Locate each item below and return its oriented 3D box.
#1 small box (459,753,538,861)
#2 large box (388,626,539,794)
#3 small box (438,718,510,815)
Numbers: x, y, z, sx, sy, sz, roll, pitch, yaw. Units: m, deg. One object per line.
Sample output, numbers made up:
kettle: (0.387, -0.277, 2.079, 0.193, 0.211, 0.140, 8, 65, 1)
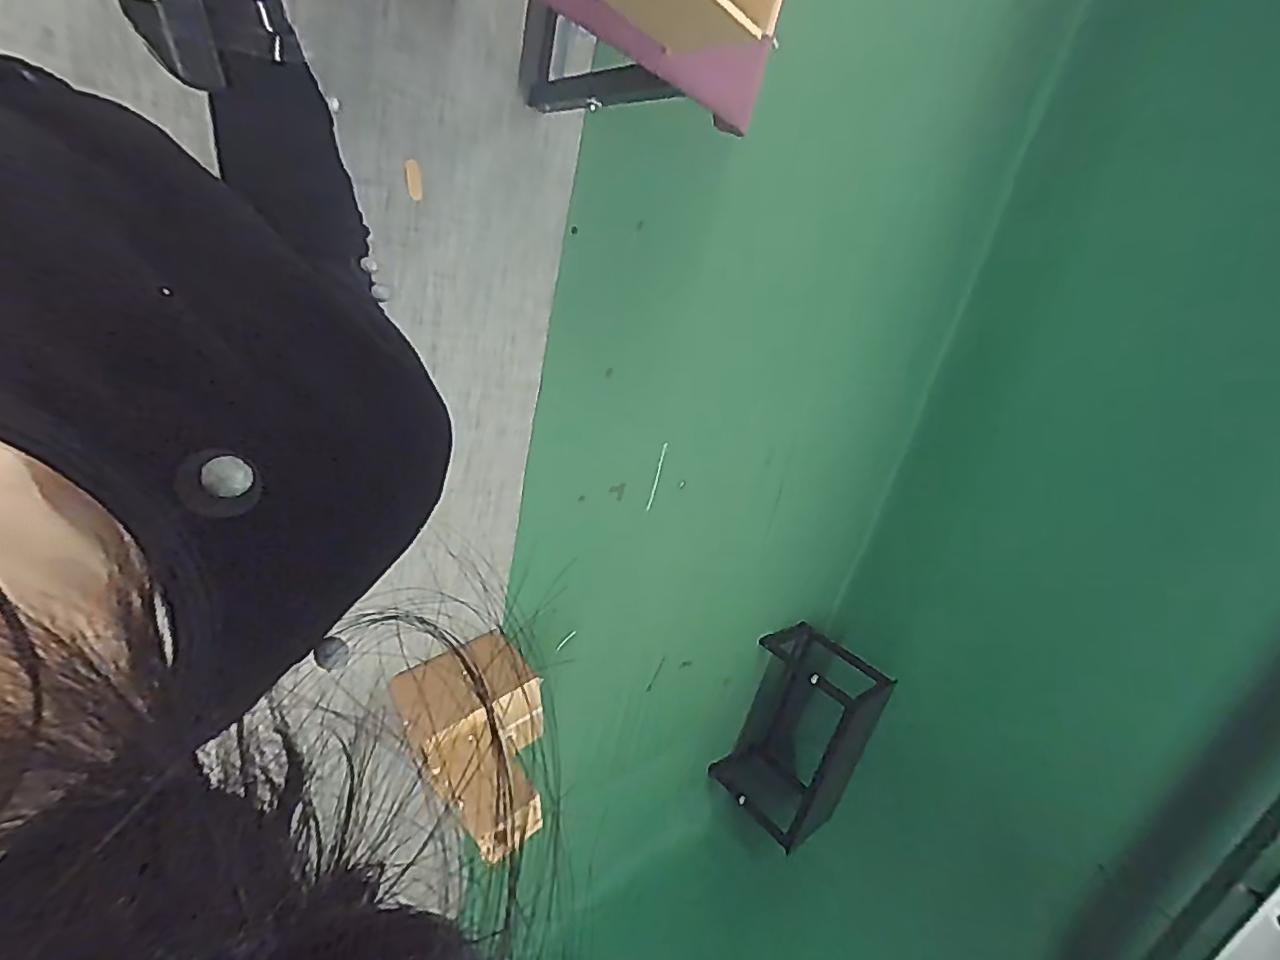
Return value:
small box: (-0.424, 0.966, 1.609, 0.179, 0.176, 0.168, -21, 126, -37)
large box: (-0.623, 0.800, 1.938, 0.408, 0.320, 0.320, -21, 127, -36)
small box: (-0.530, 0.904, 1.718, 0.179, 0.176, 0.168, -15, 123, -38)
